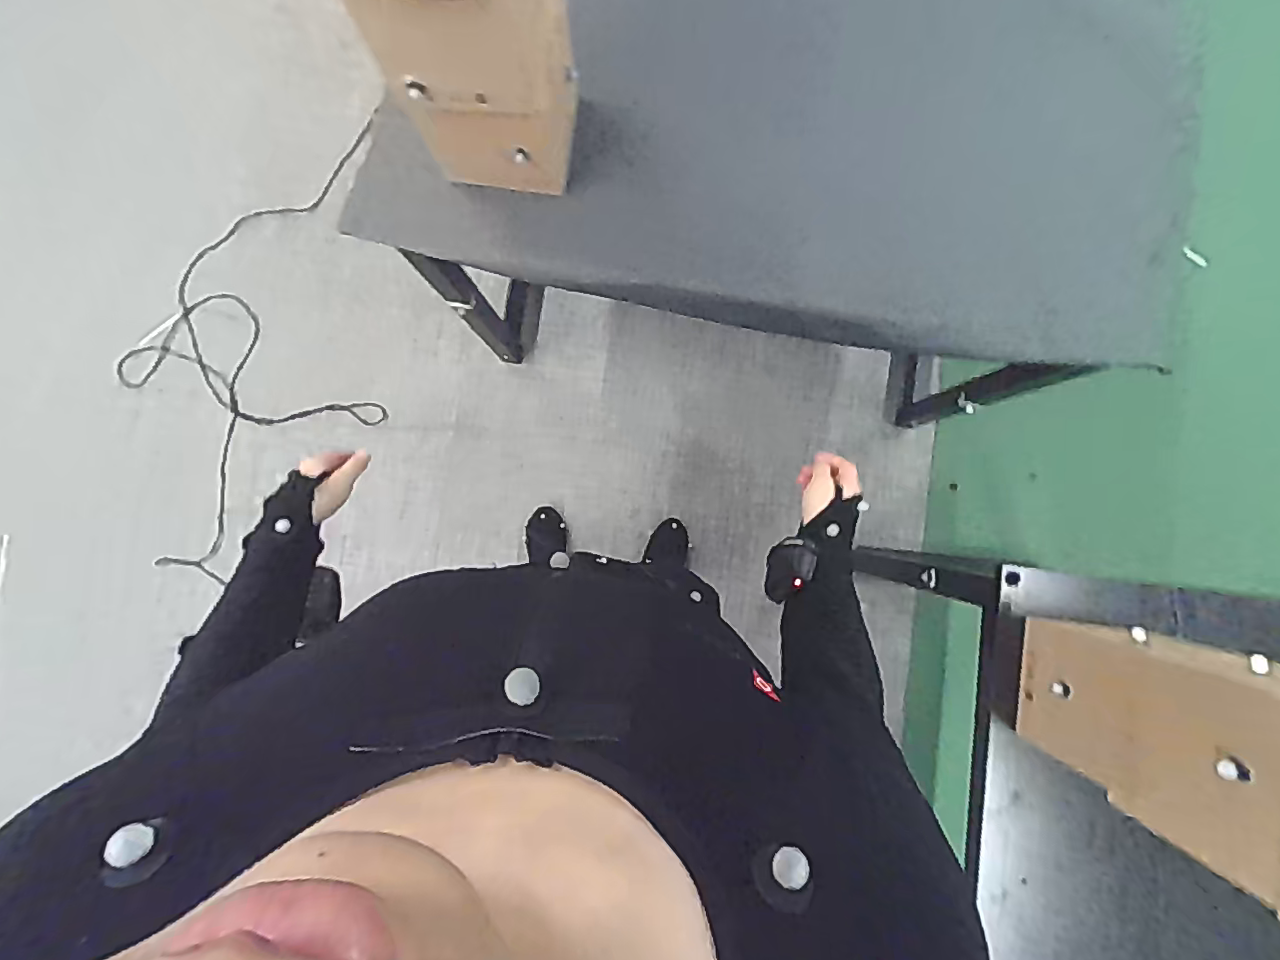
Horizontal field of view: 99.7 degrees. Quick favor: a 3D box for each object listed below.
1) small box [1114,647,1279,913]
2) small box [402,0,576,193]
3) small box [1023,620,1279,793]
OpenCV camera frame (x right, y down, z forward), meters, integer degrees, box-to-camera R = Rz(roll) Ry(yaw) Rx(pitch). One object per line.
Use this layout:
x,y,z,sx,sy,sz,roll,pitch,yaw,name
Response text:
0.602,0.275,0.511,0.168,0.176,0.179,7,87,1,small box
-0.187,-0.517,0.727,0.179,0.176,0.168,7,85,2,small box
0.621,0.279,0.673,0.179,0.176,0.168,7,88,1,small box
